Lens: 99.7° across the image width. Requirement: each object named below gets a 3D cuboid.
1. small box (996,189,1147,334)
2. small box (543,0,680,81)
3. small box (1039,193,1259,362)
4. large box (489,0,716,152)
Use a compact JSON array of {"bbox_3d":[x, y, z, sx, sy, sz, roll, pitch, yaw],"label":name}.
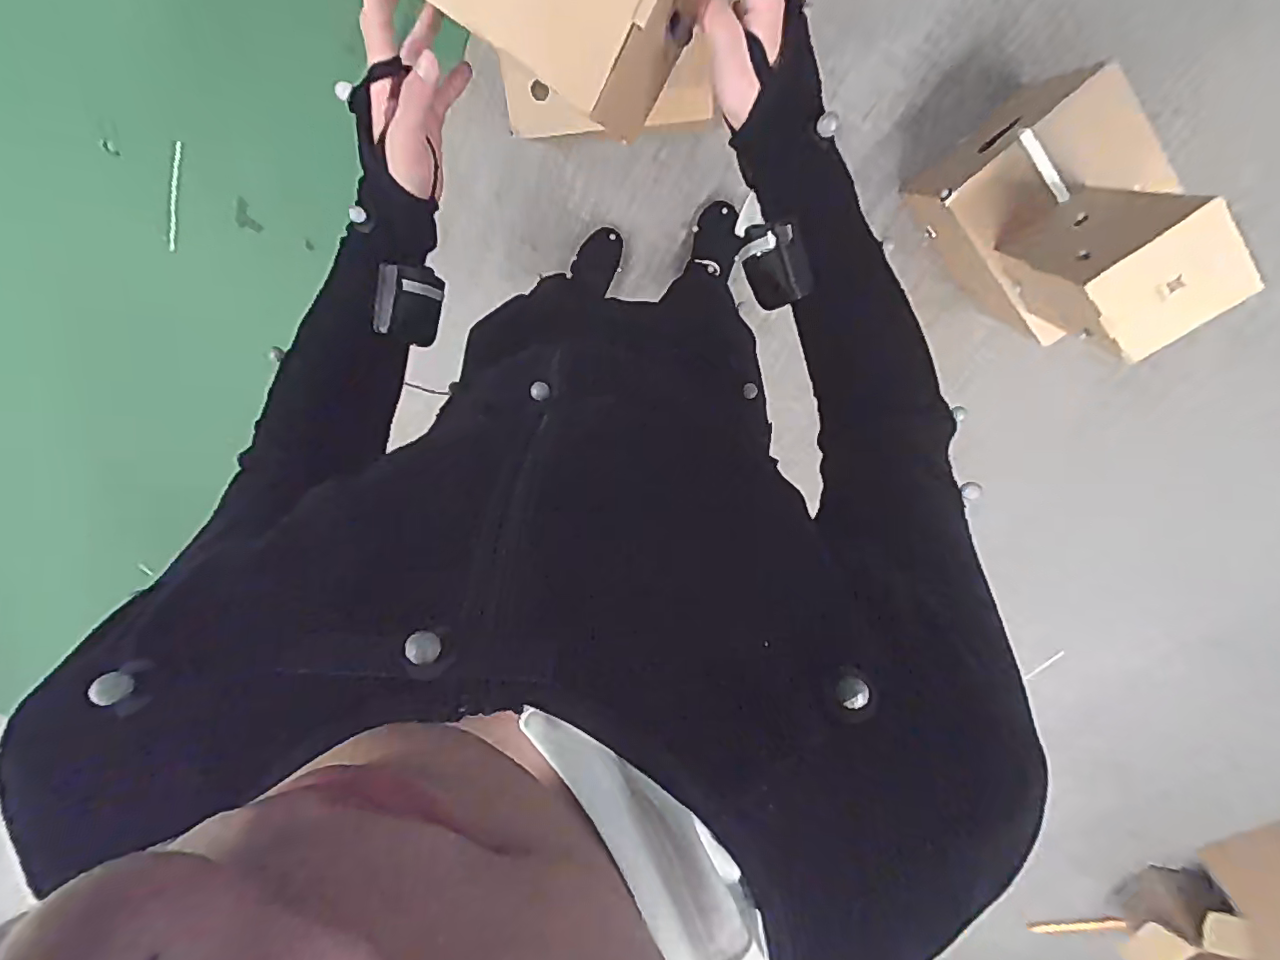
[{"bbox_3d":[0.805,-0.405,0.990,0.179,0.176,0.168,-35,109,26],"label":"small box"},{"bbox_3d":[-0.032,-0.677,0.761,0.179,0.176,0.168,3,119,7],"label":"small box"},{"bbox_3d":[0.777,-0.322,0.852,0.179,0.176,0.168,-38,109,25],"label":"small box"},{"bbox_3d":[-0.053,-0.888,1.121,0.408,0.320,0.320,-1,118,10],"label":"large box"}]
